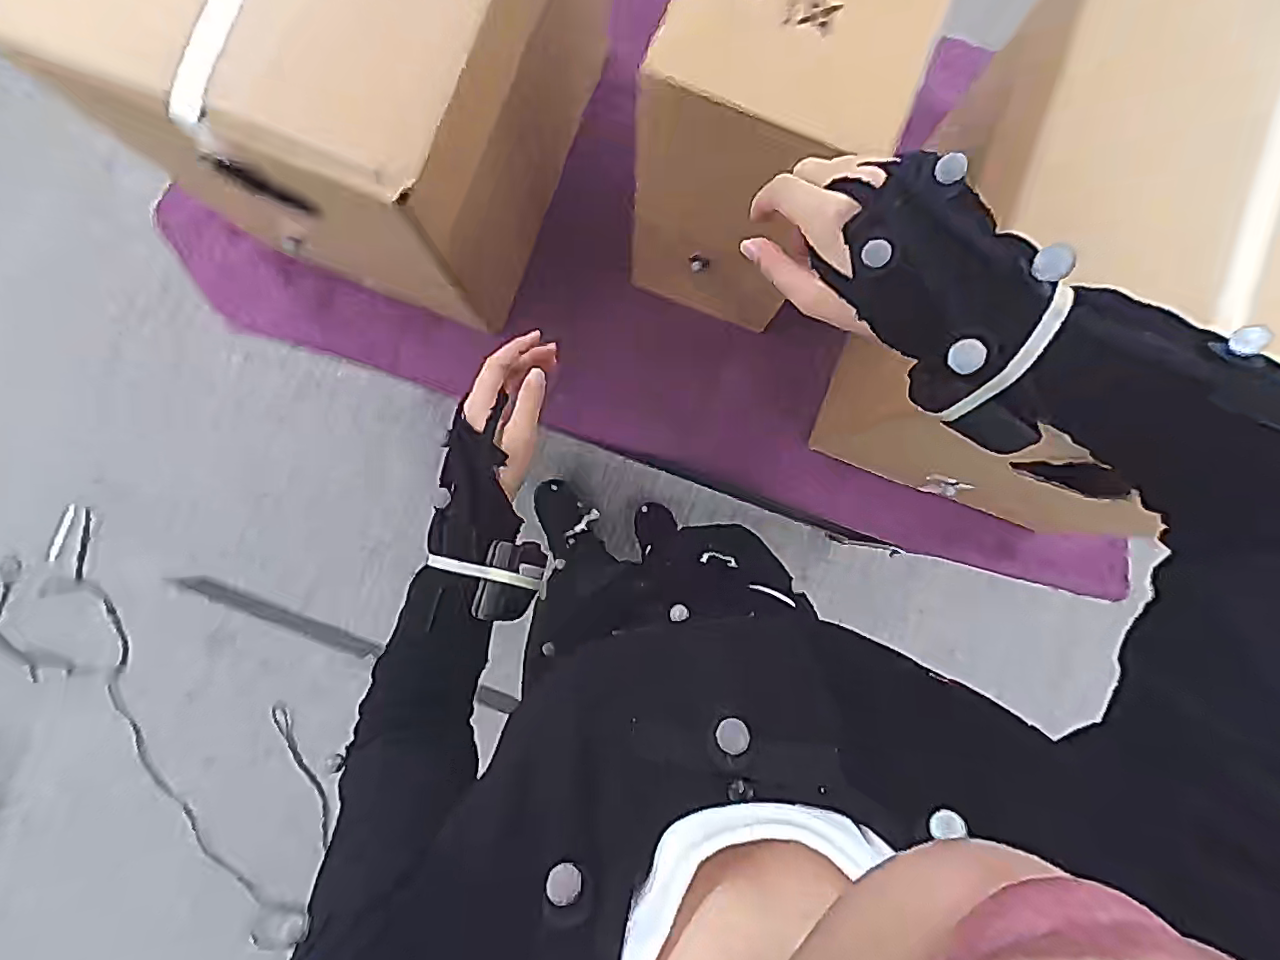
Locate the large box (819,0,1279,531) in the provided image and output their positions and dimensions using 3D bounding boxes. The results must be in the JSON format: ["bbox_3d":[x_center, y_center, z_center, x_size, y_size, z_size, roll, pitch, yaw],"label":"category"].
[{"bbox_3d":[0.422,-0.185,0.527,0.320,0.320,0.408,20,85,-1],"label":"large box"}]
